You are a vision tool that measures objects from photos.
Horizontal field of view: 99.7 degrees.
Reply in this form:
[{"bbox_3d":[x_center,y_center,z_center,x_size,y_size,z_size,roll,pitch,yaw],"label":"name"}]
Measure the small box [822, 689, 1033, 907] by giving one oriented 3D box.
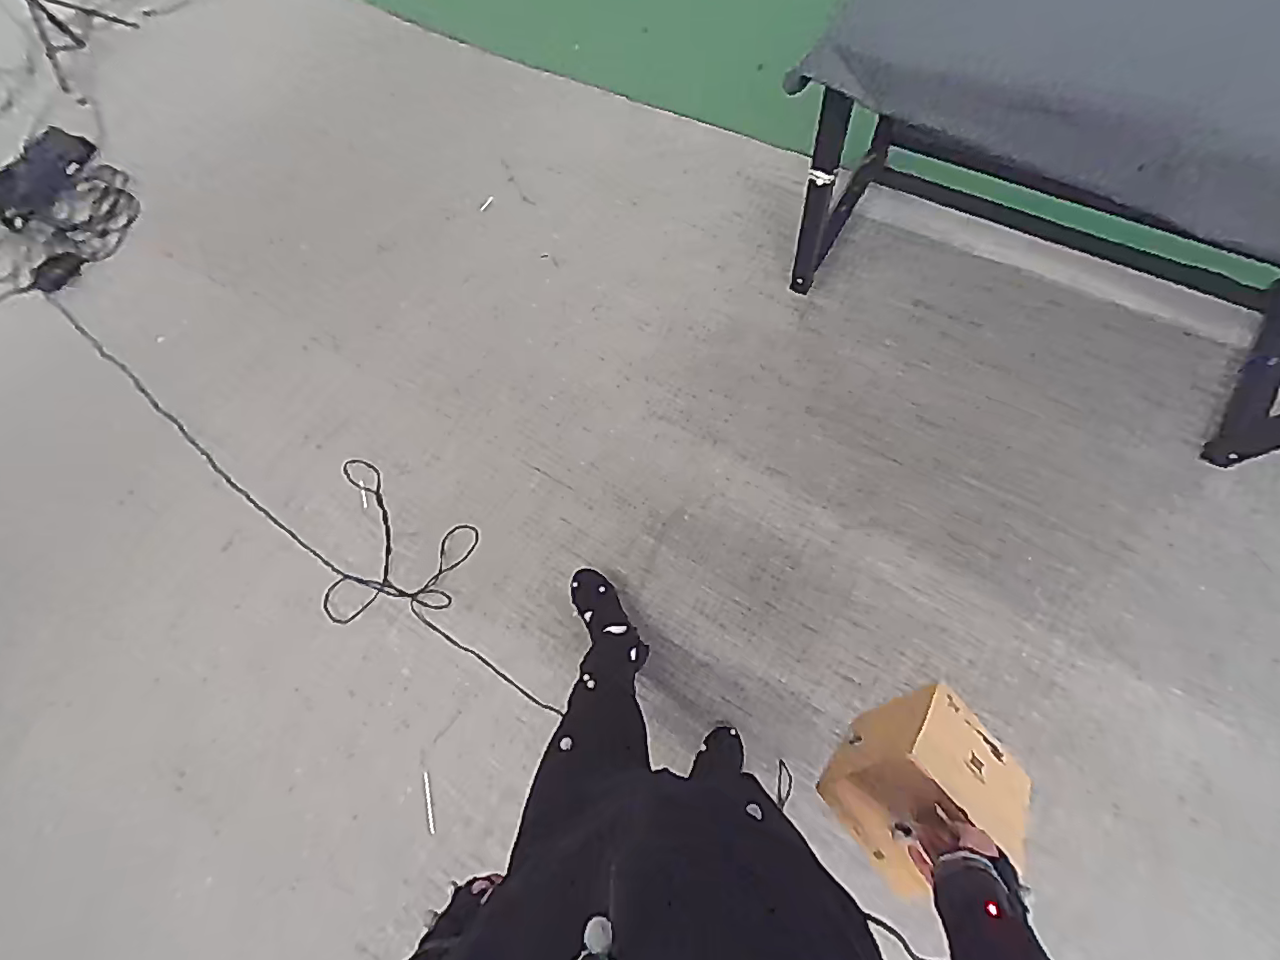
[{"bbox_3d":[0.375,0.423,0.724,0.168,0.179,0.176,52,129,18],"label":"small box"}]
